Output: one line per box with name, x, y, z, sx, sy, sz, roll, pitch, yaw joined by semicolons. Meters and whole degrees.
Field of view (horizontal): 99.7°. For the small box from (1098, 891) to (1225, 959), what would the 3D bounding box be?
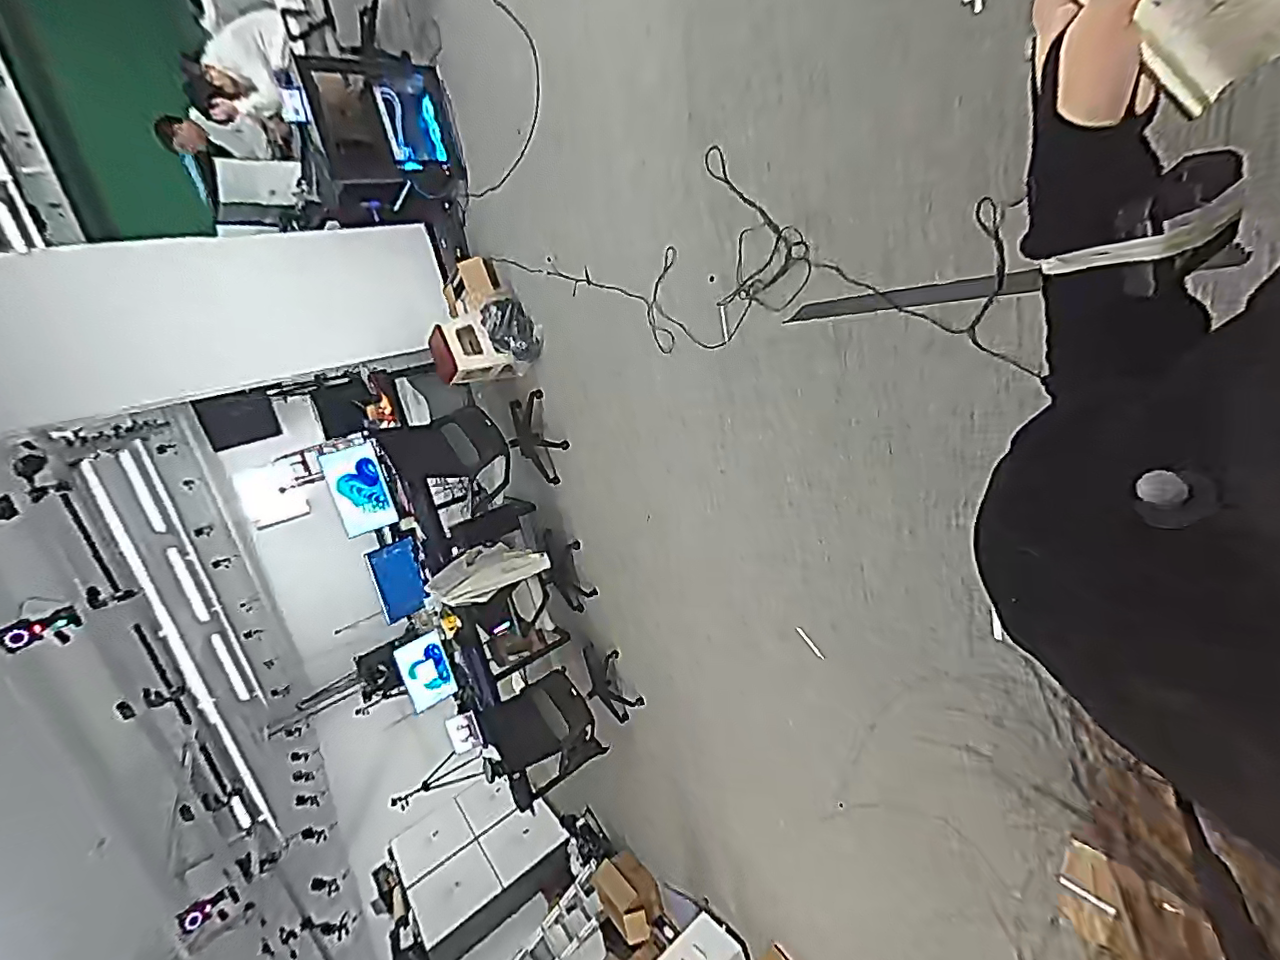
small box;1.097;1.033;1.140;0.168;0.176;0.179;7;116;55
